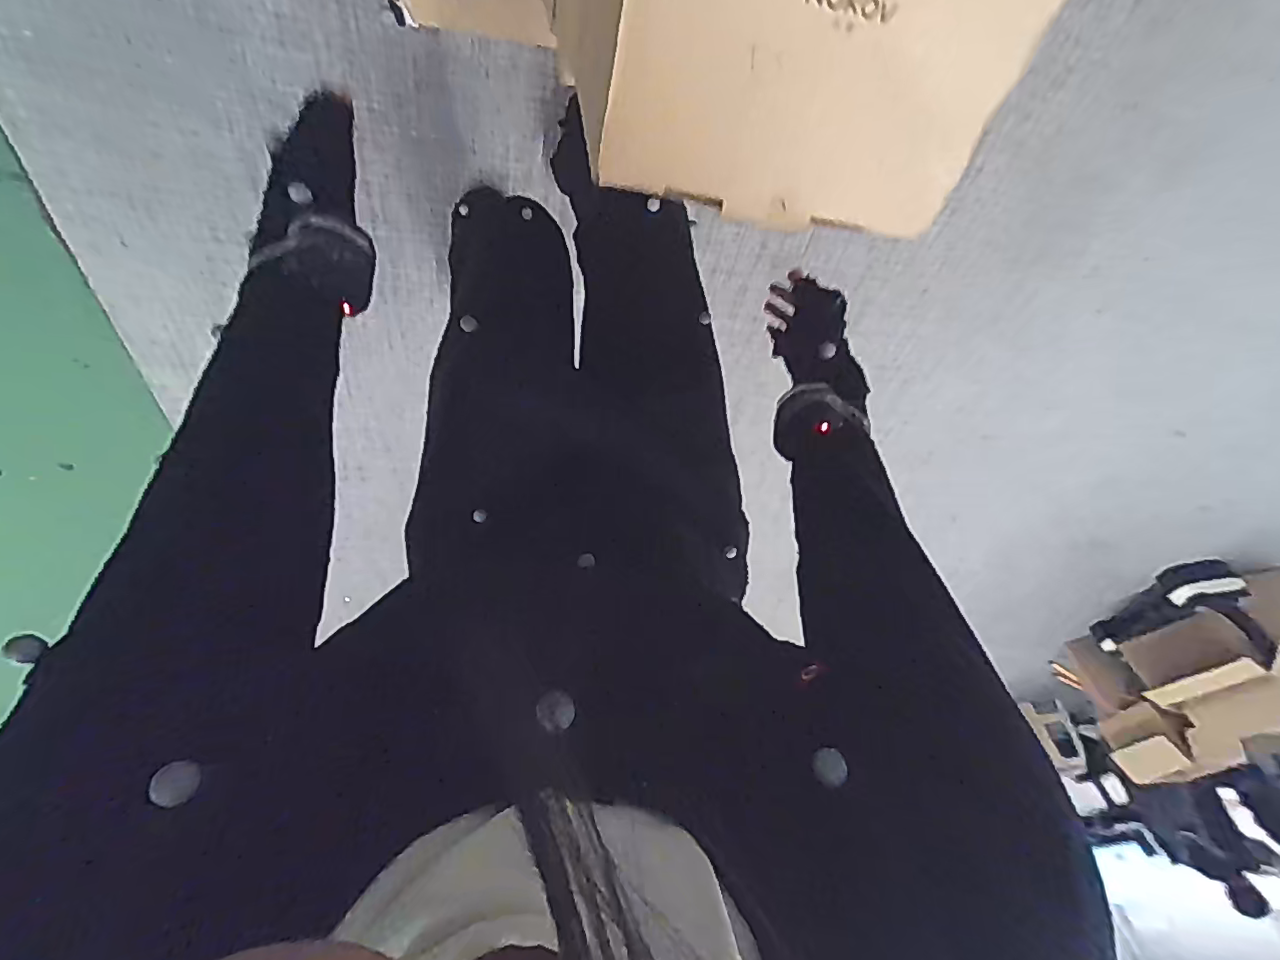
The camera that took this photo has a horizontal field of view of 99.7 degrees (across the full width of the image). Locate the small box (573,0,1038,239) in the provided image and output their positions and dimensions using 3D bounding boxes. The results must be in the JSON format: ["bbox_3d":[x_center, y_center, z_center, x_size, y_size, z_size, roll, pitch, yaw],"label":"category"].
[{"bbox_3d":[0.062,-0.244,0.244,0.168,0.176,0.179,3,139,-14],"label":"small box"}]
